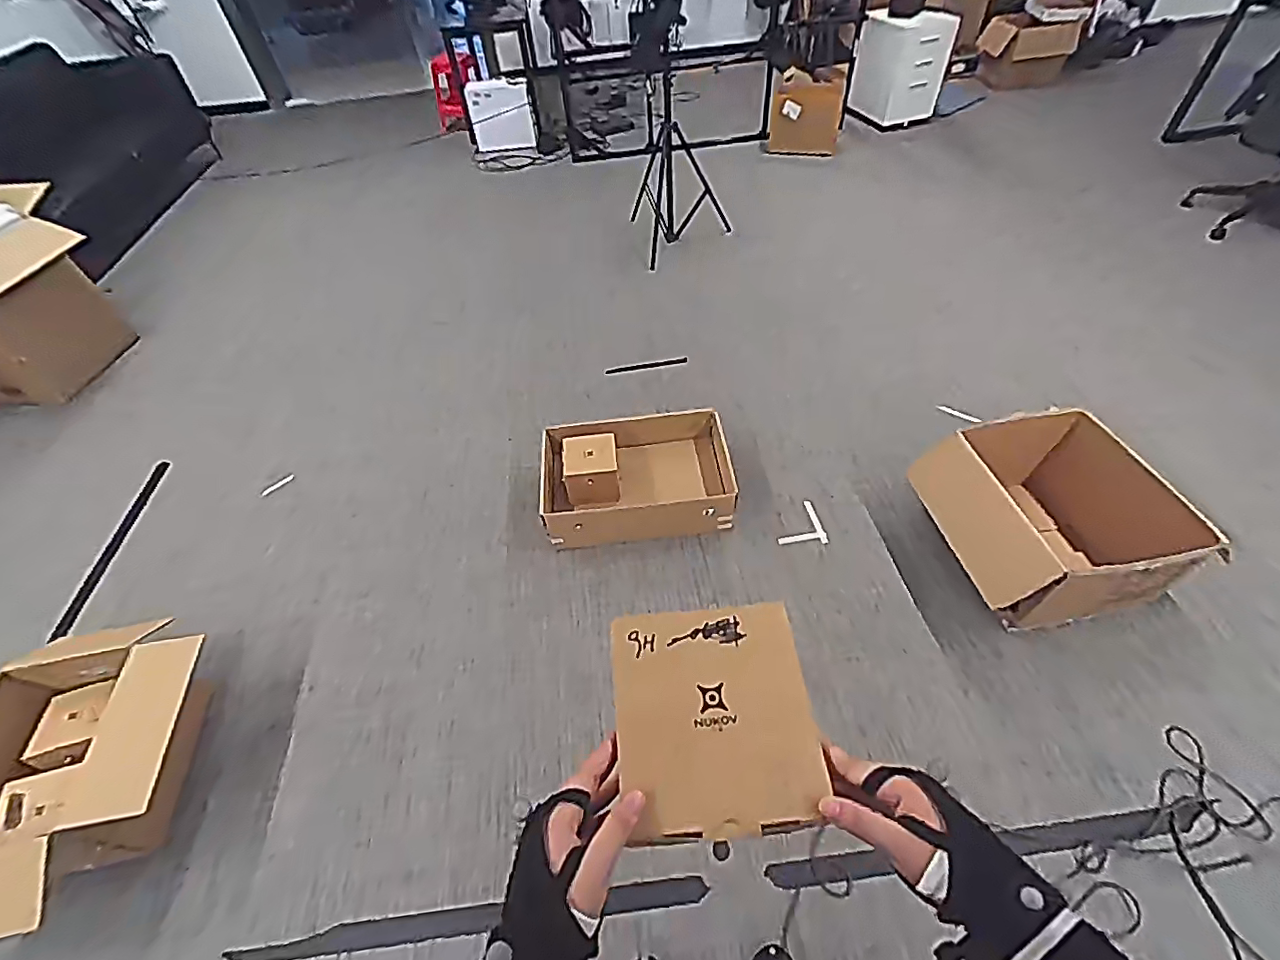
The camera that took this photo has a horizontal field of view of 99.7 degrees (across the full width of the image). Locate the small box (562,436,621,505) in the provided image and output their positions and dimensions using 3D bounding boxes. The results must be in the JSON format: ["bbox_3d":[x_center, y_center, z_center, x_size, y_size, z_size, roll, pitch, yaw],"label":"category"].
[{"bbox_3d":[-0.163,-0.028,1.835,0.179,0.176,0.168,-6,52,-2],"label":"small box"}]

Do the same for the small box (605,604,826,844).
[{"bbox_3d":[0.057,0.237,0.519,0.168,0.176,0.179,-5,56,-2],"label":"small box"}]
